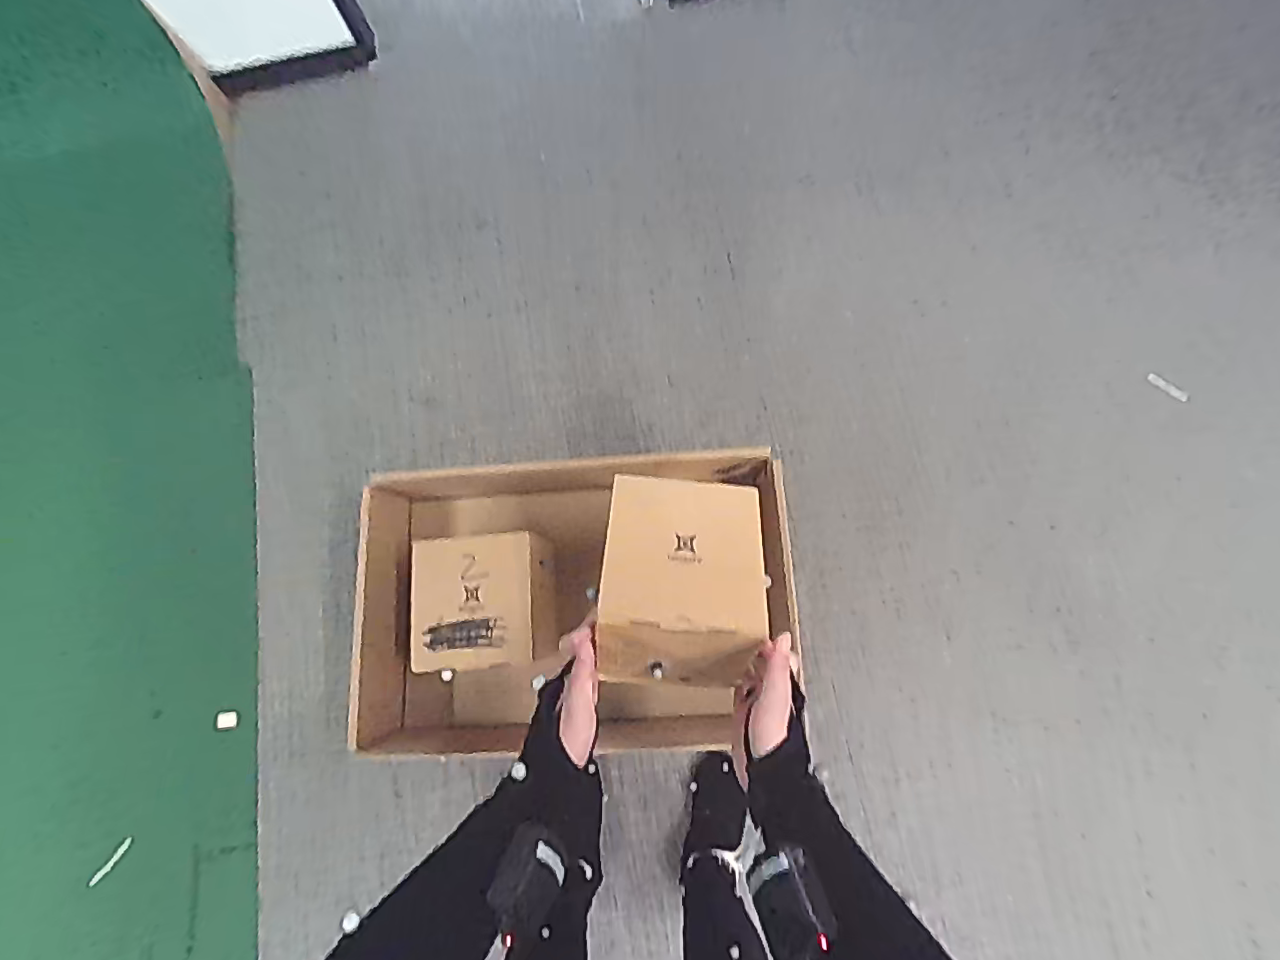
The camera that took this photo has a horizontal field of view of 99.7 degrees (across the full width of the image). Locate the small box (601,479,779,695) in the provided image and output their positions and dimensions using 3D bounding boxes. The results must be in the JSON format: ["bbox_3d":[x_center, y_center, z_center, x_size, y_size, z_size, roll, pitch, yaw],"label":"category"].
[{"bbox_3d":[0.047,0.124,0.609,0.168,0.176,0.179,6,55,-2],"label":"small box"}]
